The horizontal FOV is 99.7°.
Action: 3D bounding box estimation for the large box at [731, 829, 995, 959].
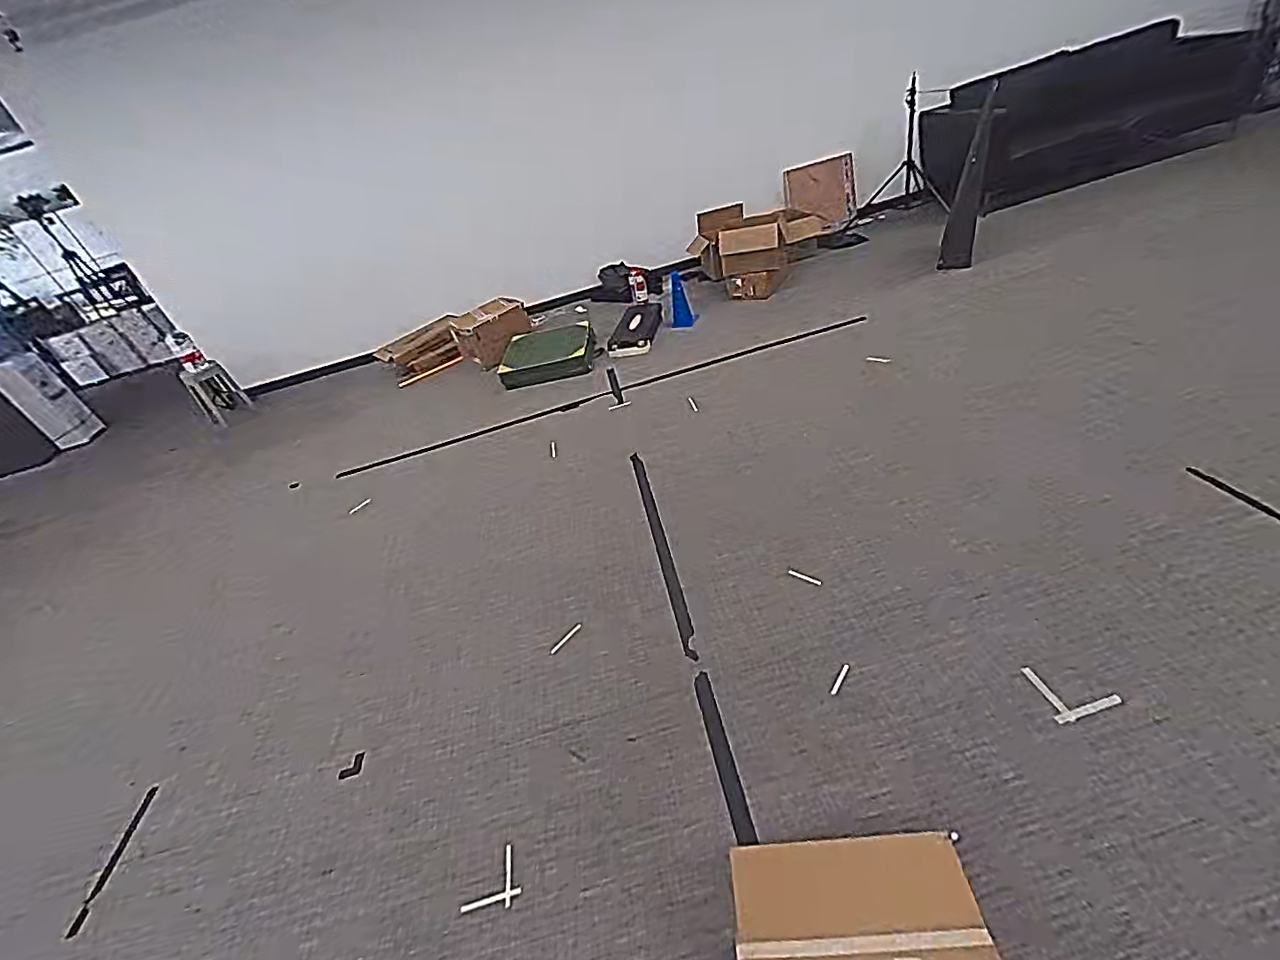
[{"bbox_3d":[0.401,0.893,0.995,0.408,0.320,0.320,-10,37,8],"label":"large box"}]
